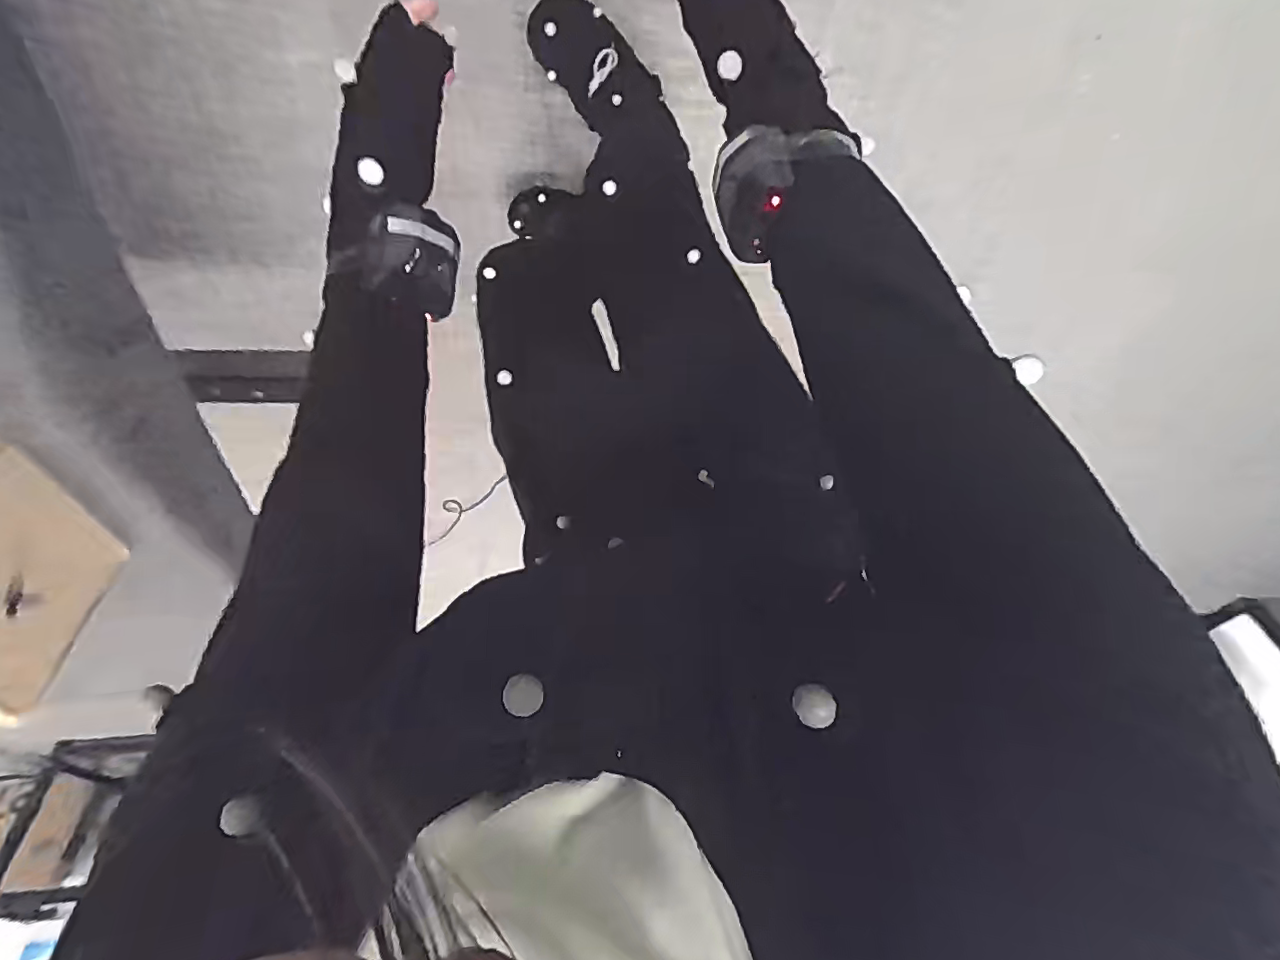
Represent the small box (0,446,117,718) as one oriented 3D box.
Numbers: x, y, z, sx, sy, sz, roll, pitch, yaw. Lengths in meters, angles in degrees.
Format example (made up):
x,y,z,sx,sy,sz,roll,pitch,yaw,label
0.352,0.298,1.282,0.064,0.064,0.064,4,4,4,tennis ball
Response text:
x,y,z,sx,sy,sz,roll,pitch,yaw,label
-0.587,0.076,0.426,0.168,0.176,0.179,1,140,-7,small box
